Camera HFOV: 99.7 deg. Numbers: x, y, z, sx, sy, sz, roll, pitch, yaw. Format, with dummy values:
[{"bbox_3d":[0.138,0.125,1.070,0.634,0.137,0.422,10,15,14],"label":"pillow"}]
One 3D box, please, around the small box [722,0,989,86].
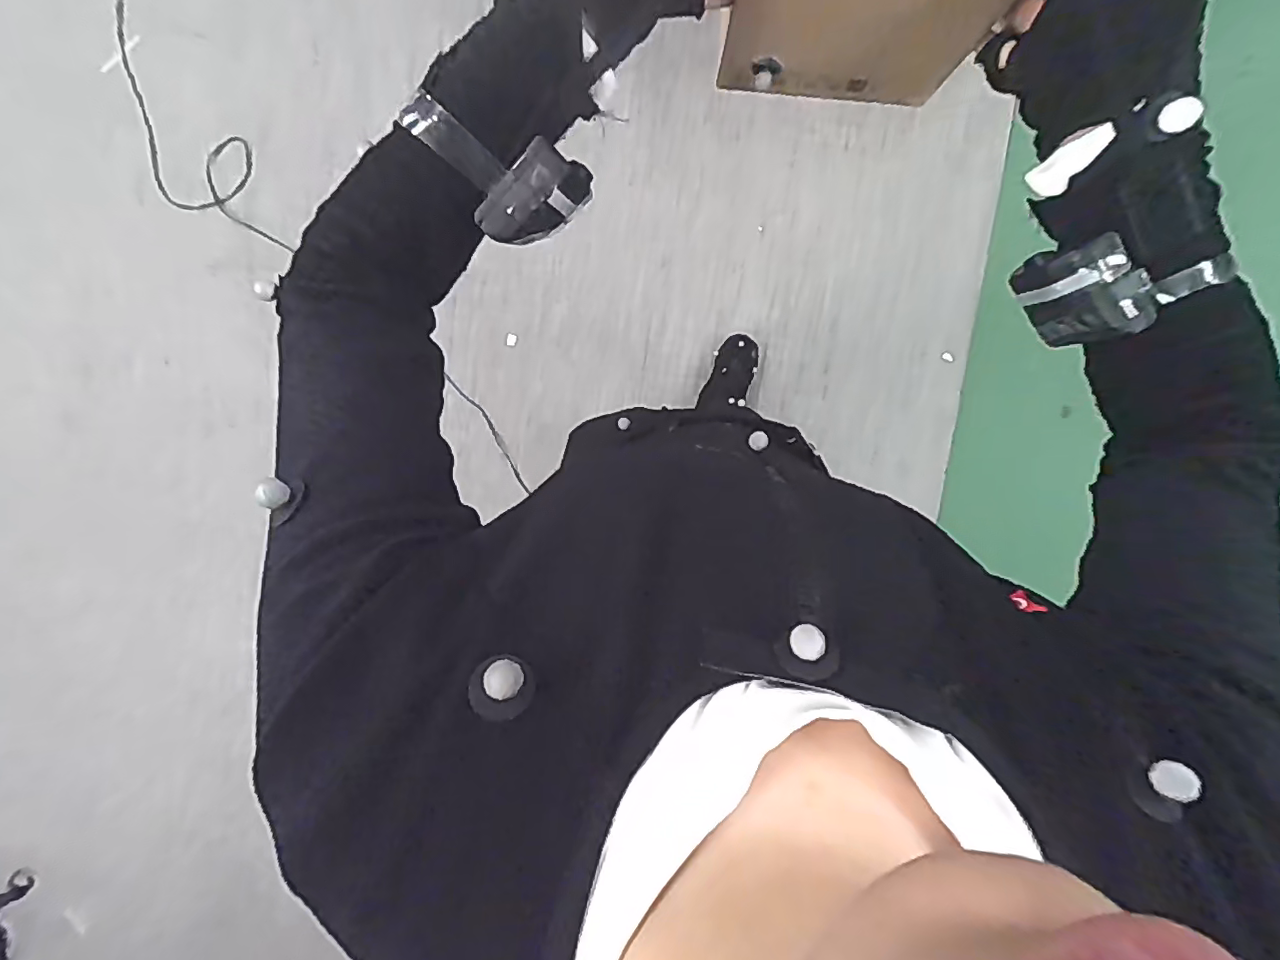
[{"bbox_3d":[0.149,-0.385,0.332,0.168,0.176,0.179,5,95,-1],"label":"small box"}]
